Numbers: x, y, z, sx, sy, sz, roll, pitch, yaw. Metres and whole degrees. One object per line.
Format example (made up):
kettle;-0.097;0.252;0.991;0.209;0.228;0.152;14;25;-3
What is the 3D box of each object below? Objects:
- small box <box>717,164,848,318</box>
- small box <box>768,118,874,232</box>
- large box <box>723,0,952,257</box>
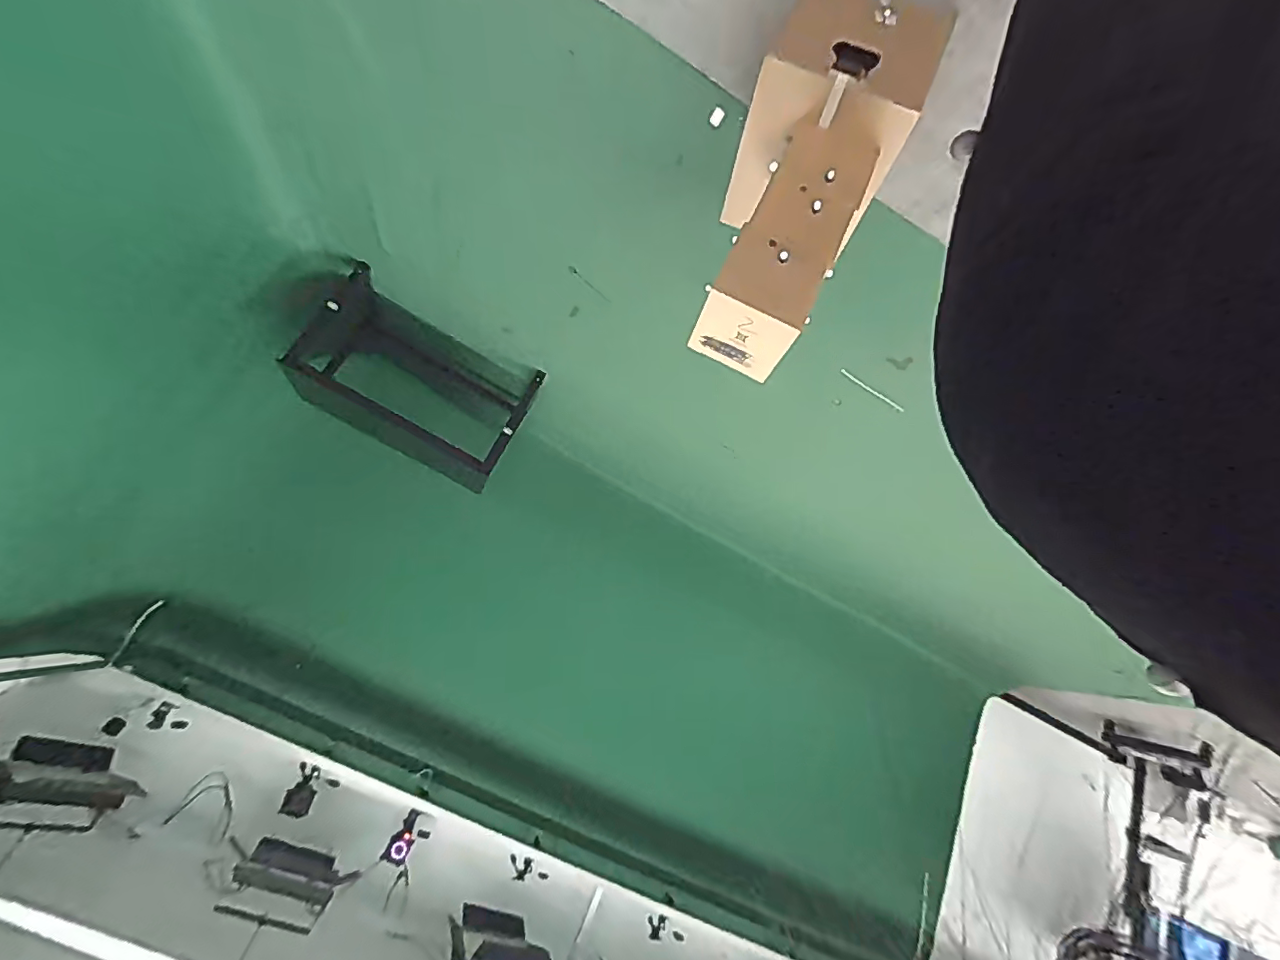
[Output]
small box;0.276;-0.458;1.048;0.168;0.176;0.179;26;159;-2
small box;0.347;-0.592;1.106;0.179;0.176;0.168;25;160;-1
large box;0.416;-0.805;1.216;0.320;0.320;0.408;25;162;5
